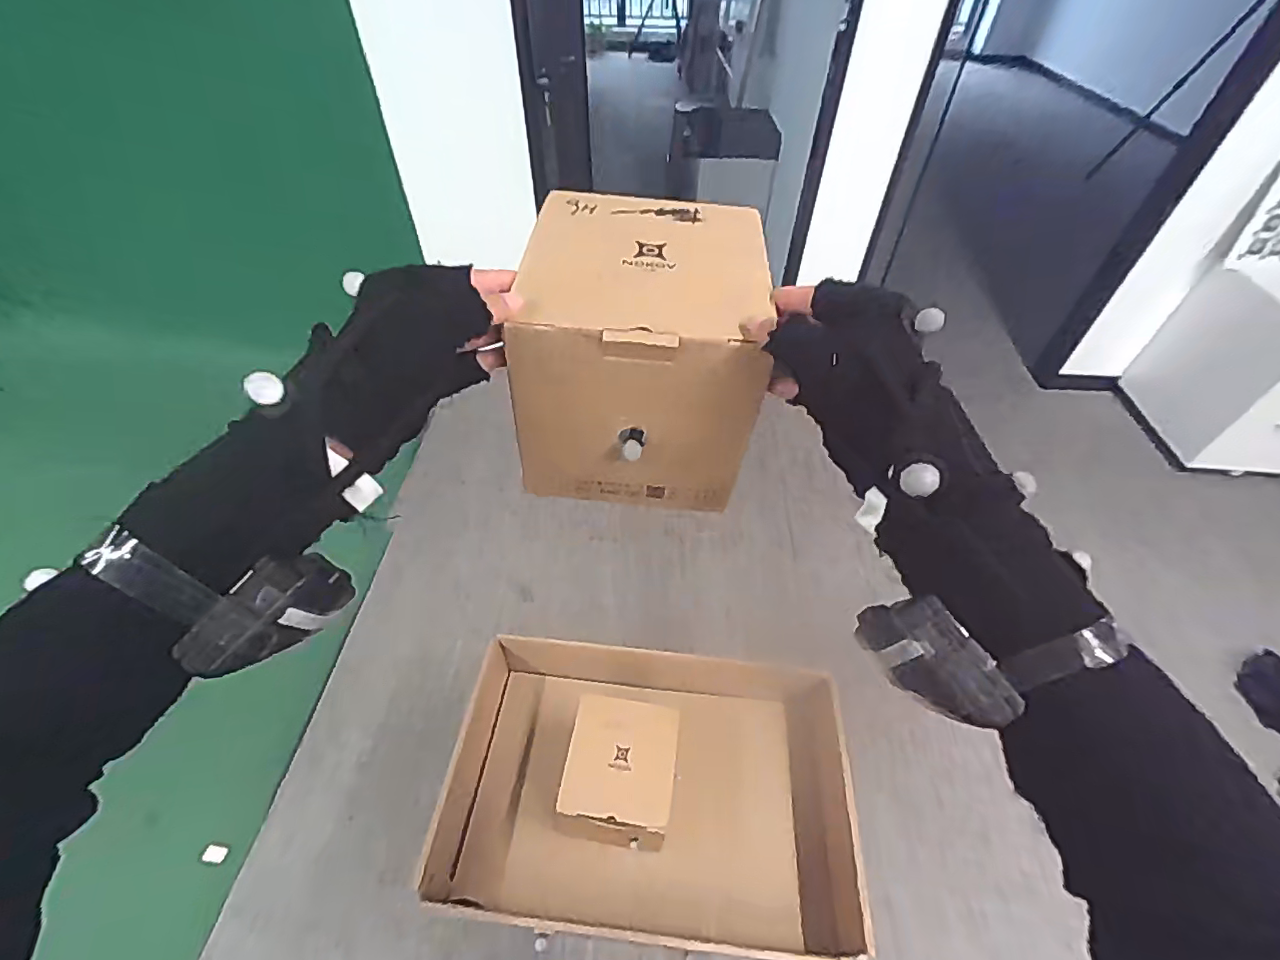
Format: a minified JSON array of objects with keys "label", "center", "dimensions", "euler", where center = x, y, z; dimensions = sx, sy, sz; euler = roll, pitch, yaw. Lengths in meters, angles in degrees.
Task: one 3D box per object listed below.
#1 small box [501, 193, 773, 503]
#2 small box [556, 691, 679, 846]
[{"label":"small box","center":[0.000,-0.099,0.430],"dimensions":[0.168,0.176,0.179],"euler":[5,52,-1]},{"label":"small box","center":[-0.033,0.475,0.885],"dimensions":[0.168,0.176,0.179],"euler":[8,46,3]}]
